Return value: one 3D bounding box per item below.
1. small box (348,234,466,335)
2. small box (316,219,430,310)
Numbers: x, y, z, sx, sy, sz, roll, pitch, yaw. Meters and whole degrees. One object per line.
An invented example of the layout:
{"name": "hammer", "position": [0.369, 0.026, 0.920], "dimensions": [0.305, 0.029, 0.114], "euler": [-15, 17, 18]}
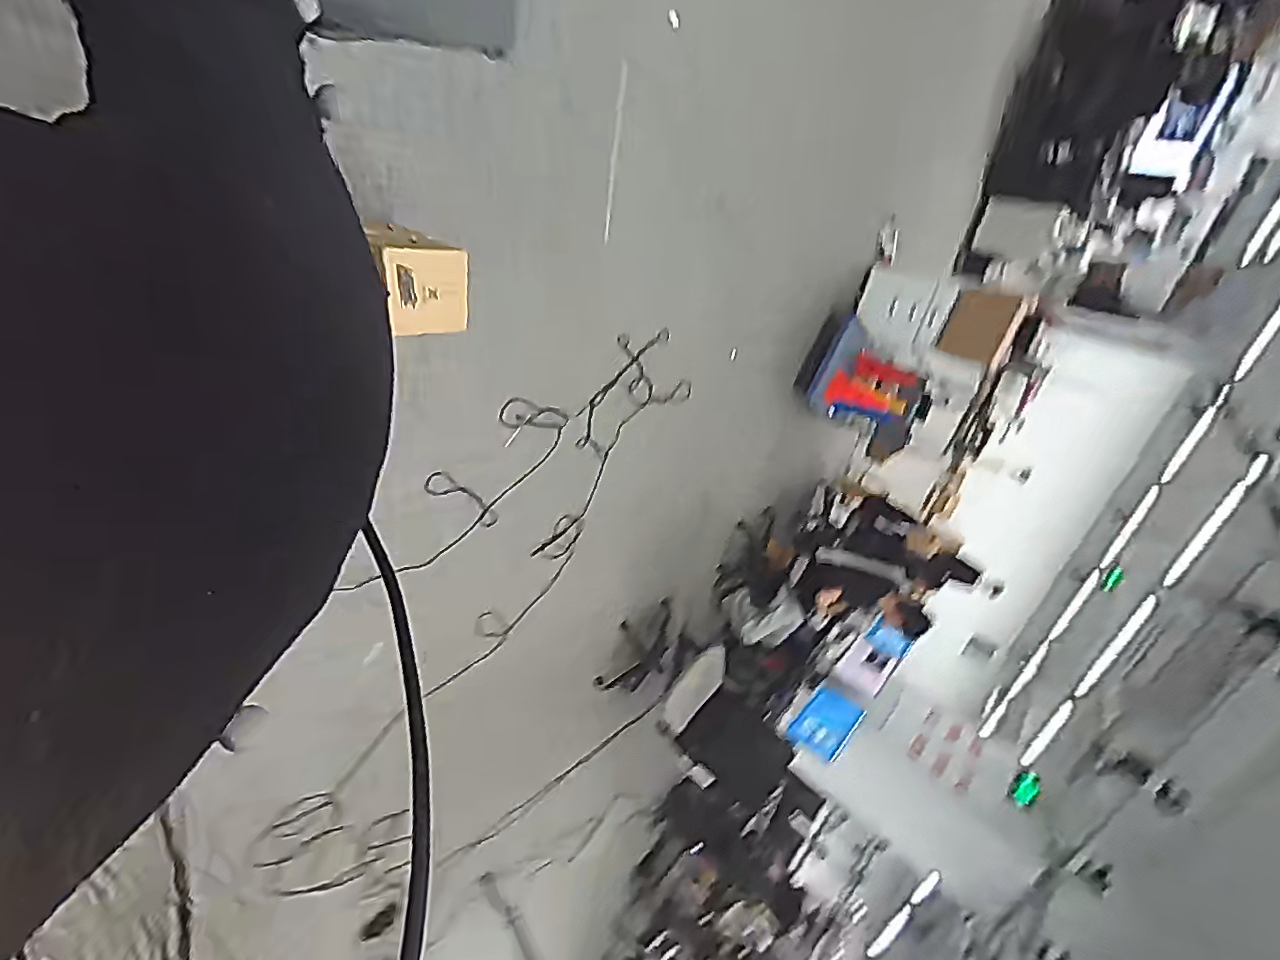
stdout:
{"name": "small box", "position": [-0.483, -0.407, 1.120], "dimensions": [0.179, 0.176, 0.168], "euler": [-23, 132, -45]}
{"name": "small box", "position": [-0.595, -0.481, 1.216], "dimensions": [0.179, 0.176, 0.168], "euler": [-20, 129, -46]}
